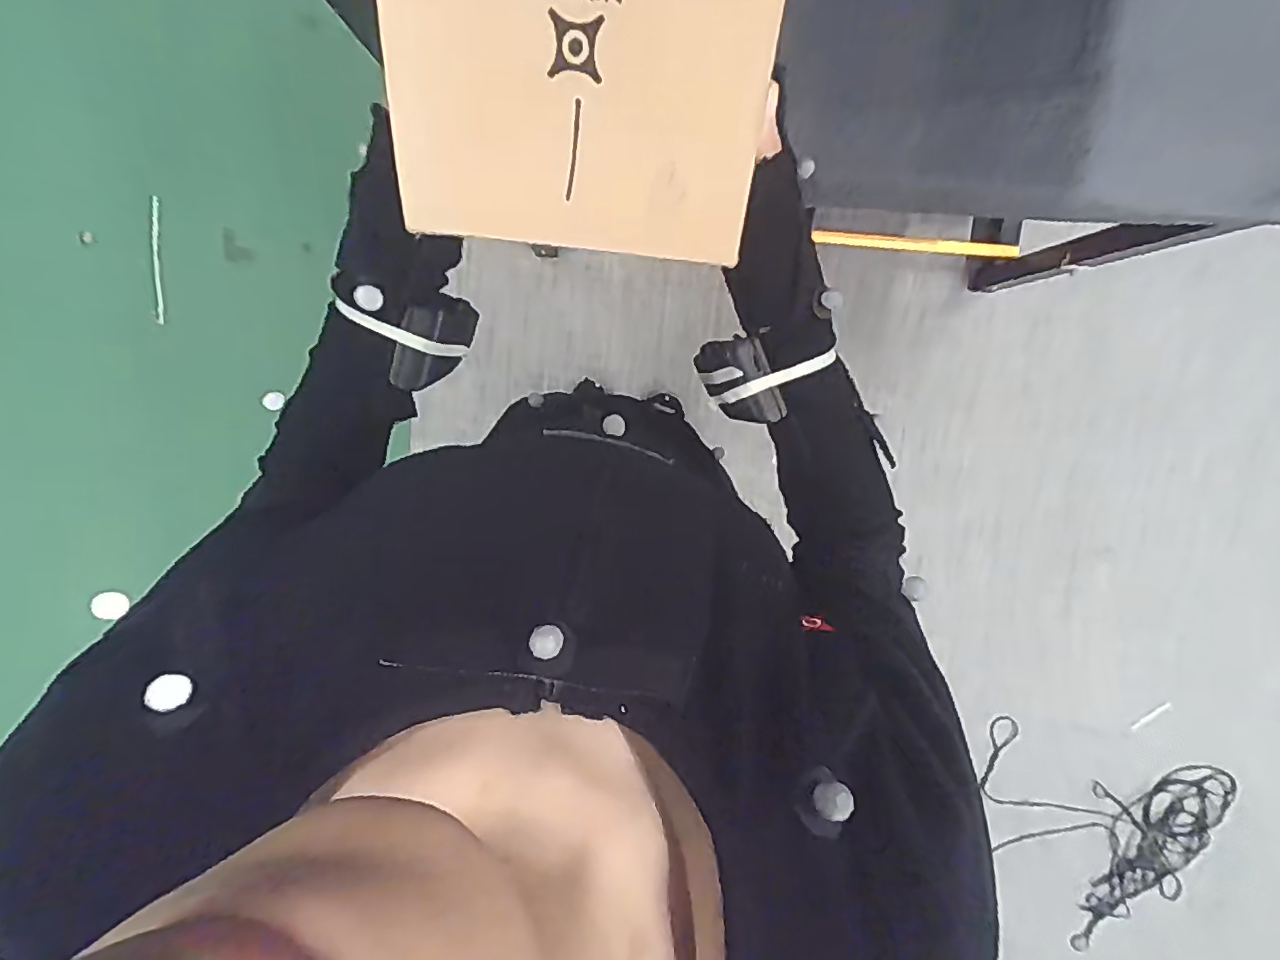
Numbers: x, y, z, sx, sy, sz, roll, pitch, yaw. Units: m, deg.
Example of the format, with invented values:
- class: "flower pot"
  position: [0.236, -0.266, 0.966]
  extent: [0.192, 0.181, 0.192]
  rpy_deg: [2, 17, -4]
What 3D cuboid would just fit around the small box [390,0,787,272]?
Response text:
- class: "small box"
  position: [-0.022, -0.230, 0.298]
  extent: [0.168, 0.176, 0.179]
  rpy_deg: [6, 122, -2]
